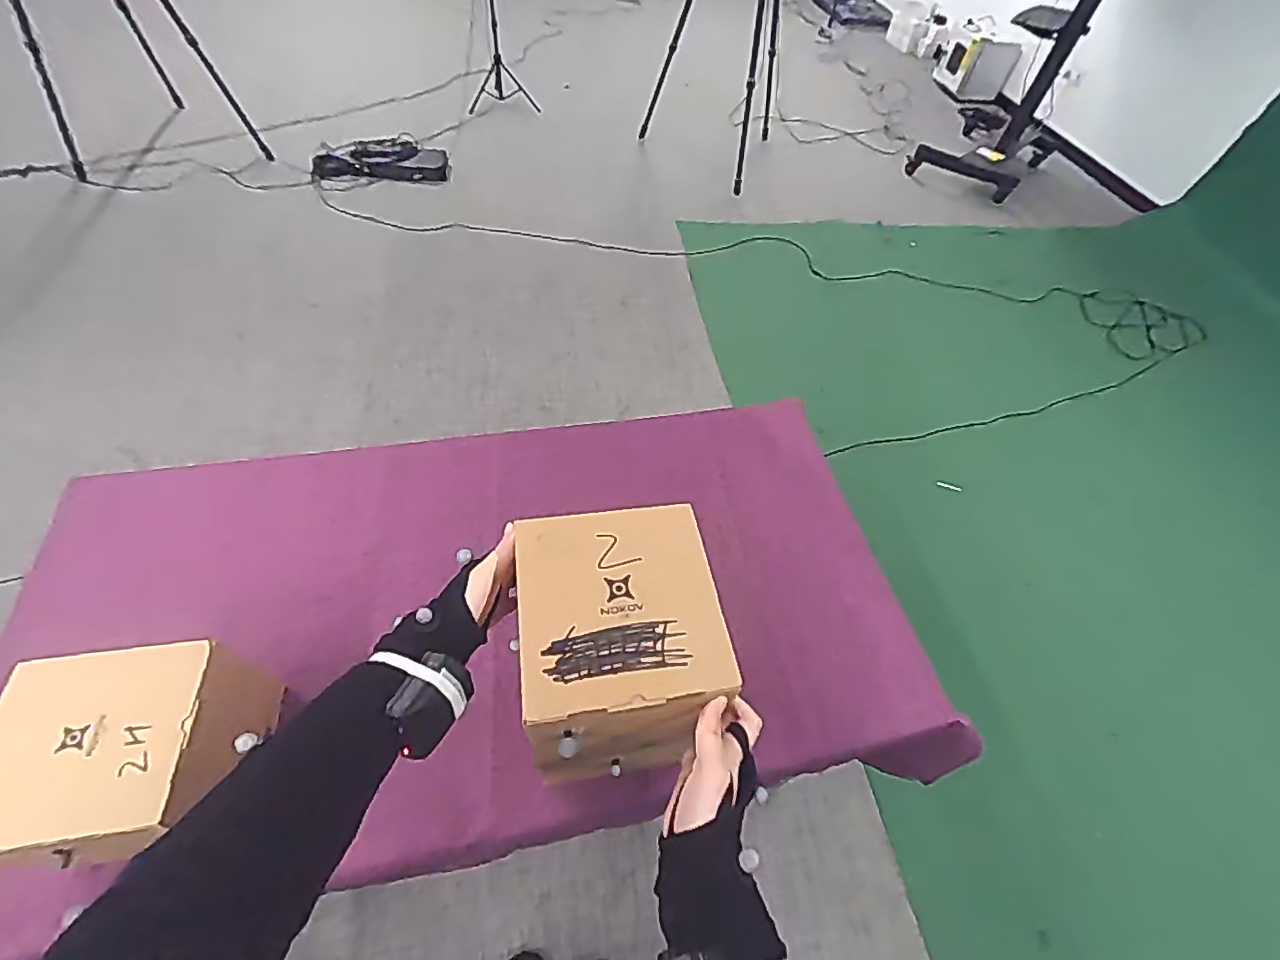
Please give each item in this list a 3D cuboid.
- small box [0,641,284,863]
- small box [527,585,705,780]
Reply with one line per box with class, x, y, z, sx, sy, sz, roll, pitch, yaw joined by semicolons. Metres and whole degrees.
small box;-0.515;0.284;0.561;0.179;0.176;0.168;-4;54;-10
small box;-0.037;0.243;0.644;0.179;0.176;0.168;-6;54;-9
